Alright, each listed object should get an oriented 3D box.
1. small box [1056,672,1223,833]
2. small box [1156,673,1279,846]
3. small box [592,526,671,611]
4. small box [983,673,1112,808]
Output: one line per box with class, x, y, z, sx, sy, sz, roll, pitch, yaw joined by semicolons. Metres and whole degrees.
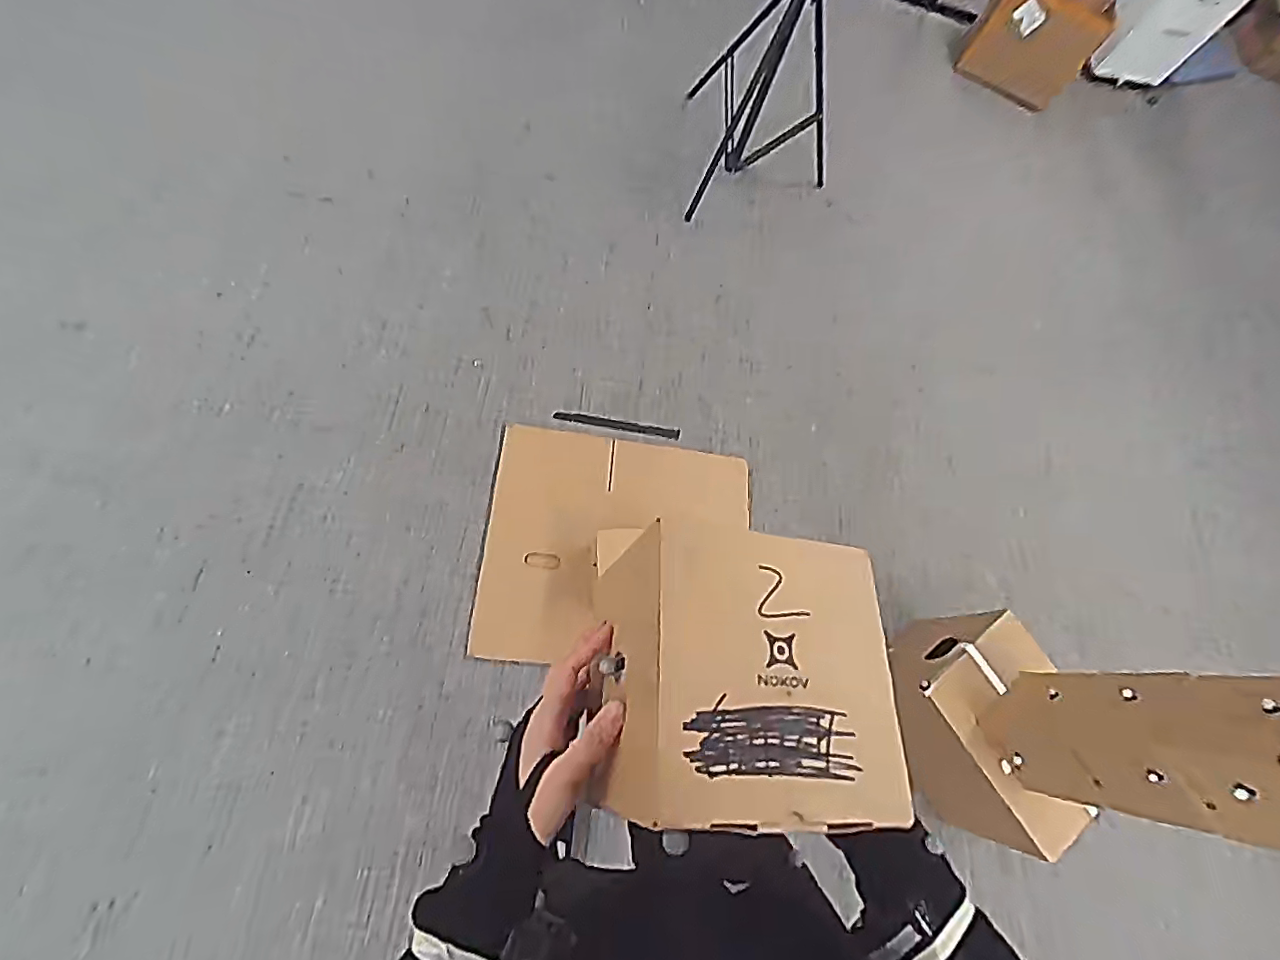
small box;0.868;0.444;0.918;0.179;0.176;0.168;-31;79;-20
small box;0.899;0.396;0.765;0.179;0.176;0.168;-31;80;-20
small box;-0.027;0.217;1.312;0.168;0.176;0.179;-1;72;-9
small box;0.834;0.499;1.069;0.179;0.176;0.168;-31;80;-19
